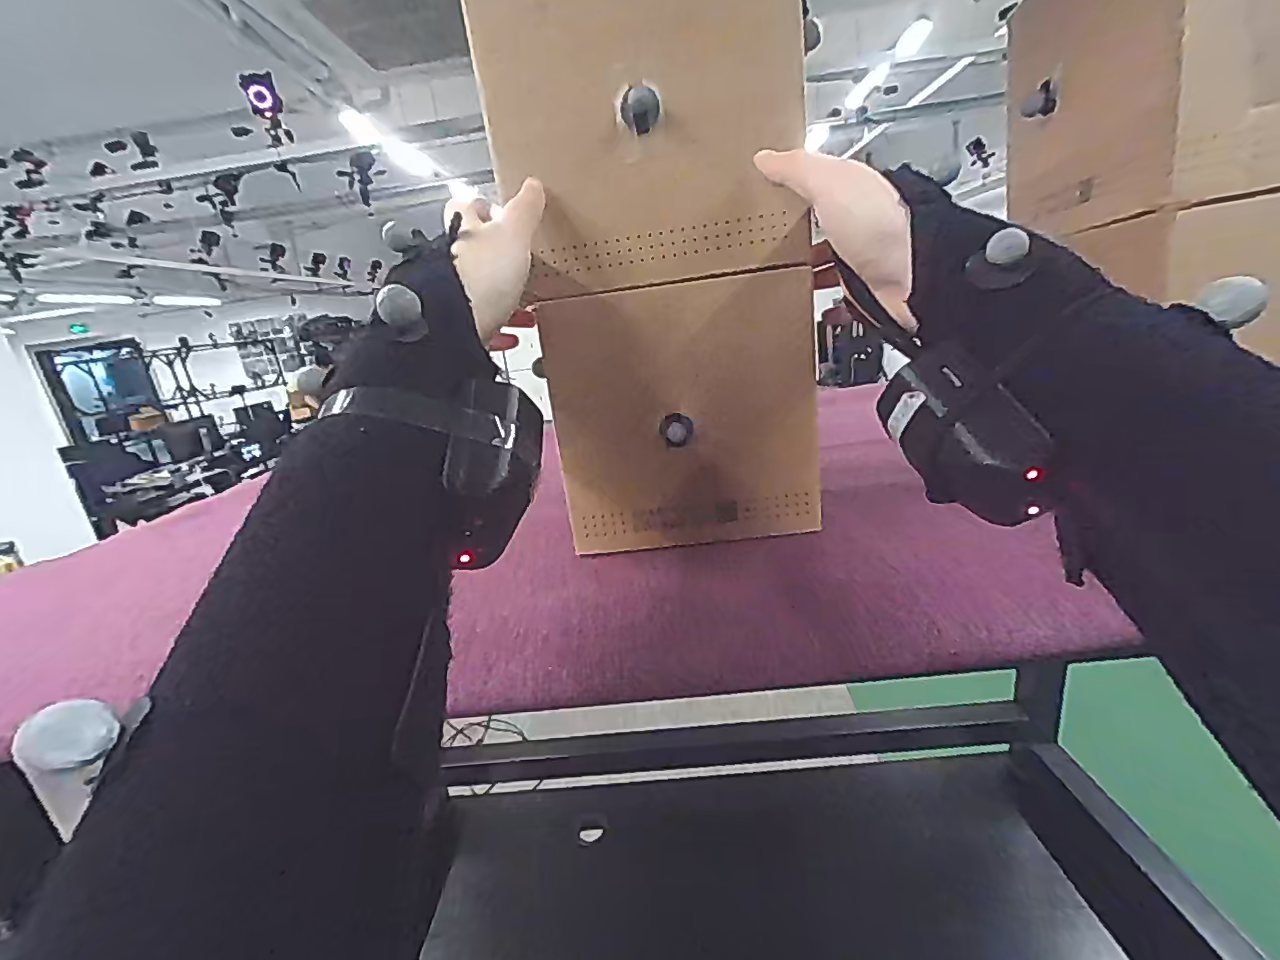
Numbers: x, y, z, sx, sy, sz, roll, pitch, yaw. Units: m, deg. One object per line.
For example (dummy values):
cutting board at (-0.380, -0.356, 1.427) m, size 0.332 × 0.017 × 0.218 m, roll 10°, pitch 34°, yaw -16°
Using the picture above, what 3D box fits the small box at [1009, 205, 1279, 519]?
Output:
small box at (0.380, -0.082, 0.364) m, size 0.179 × 0.176 × 0.168 m, roll -7°, pitch 13°, yaw 9°

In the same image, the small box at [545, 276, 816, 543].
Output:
small box at (0.035, -0.055, 0.425) m, size 0.168 × 0.176 × 0.179 m, roll -6°, pitch 16°, yaw 4°

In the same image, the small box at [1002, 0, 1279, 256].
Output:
small box at (0.355, -0.240, 0.332) m, size 0.179 × 0.176 × 0.168 m, roll -5°, pitch 14°, yaw 12°
